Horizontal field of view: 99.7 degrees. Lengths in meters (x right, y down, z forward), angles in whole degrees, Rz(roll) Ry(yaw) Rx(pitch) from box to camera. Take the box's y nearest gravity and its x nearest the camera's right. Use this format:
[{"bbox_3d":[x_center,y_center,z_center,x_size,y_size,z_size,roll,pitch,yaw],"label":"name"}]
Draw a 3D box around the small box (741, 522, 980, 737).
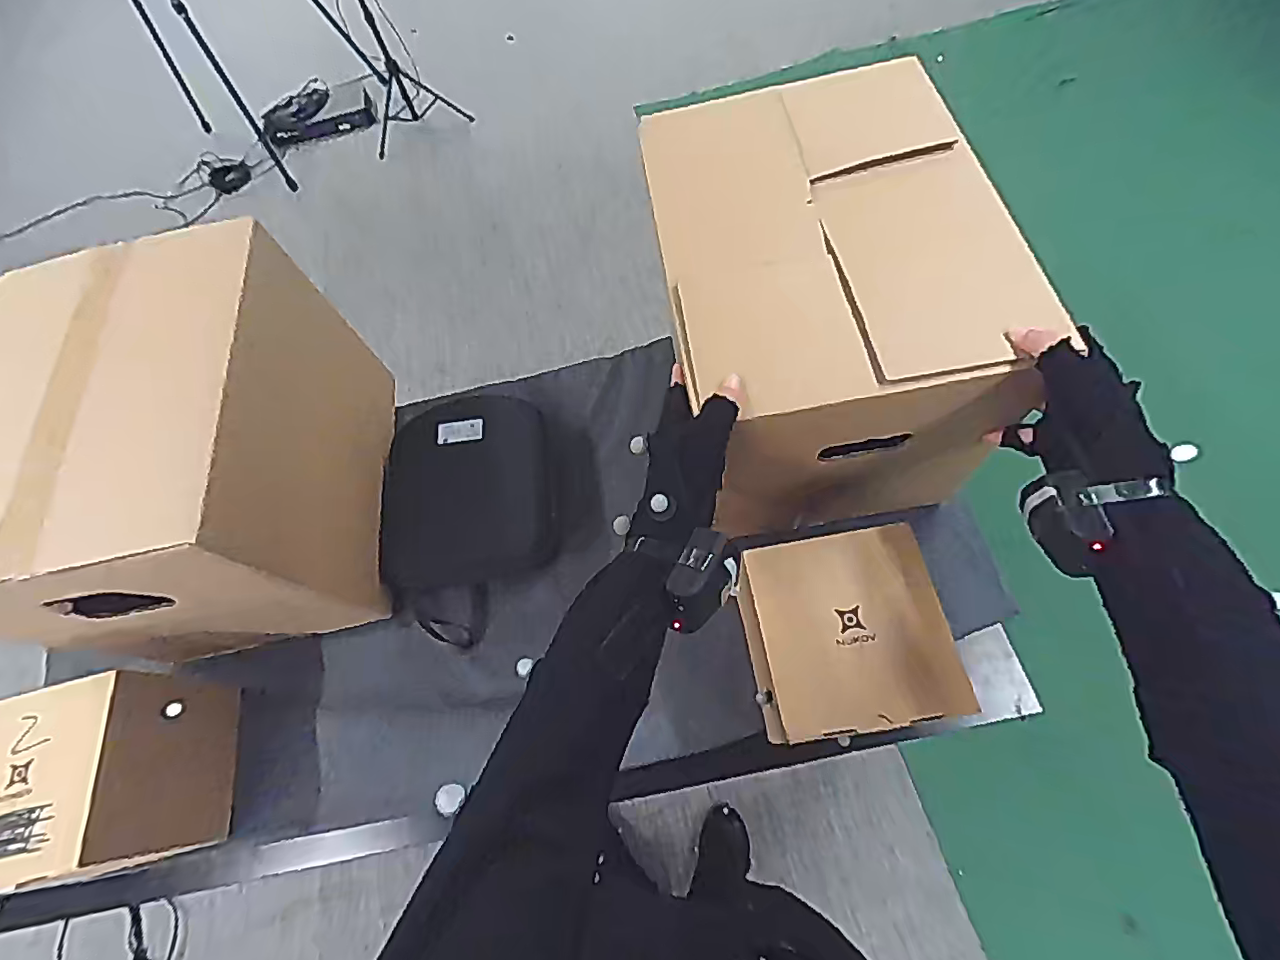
[{"bbox_3d":[0.205,0.165,0.566,0.168,0.176,0.179,-11,65,3],"label":"small box"}]
